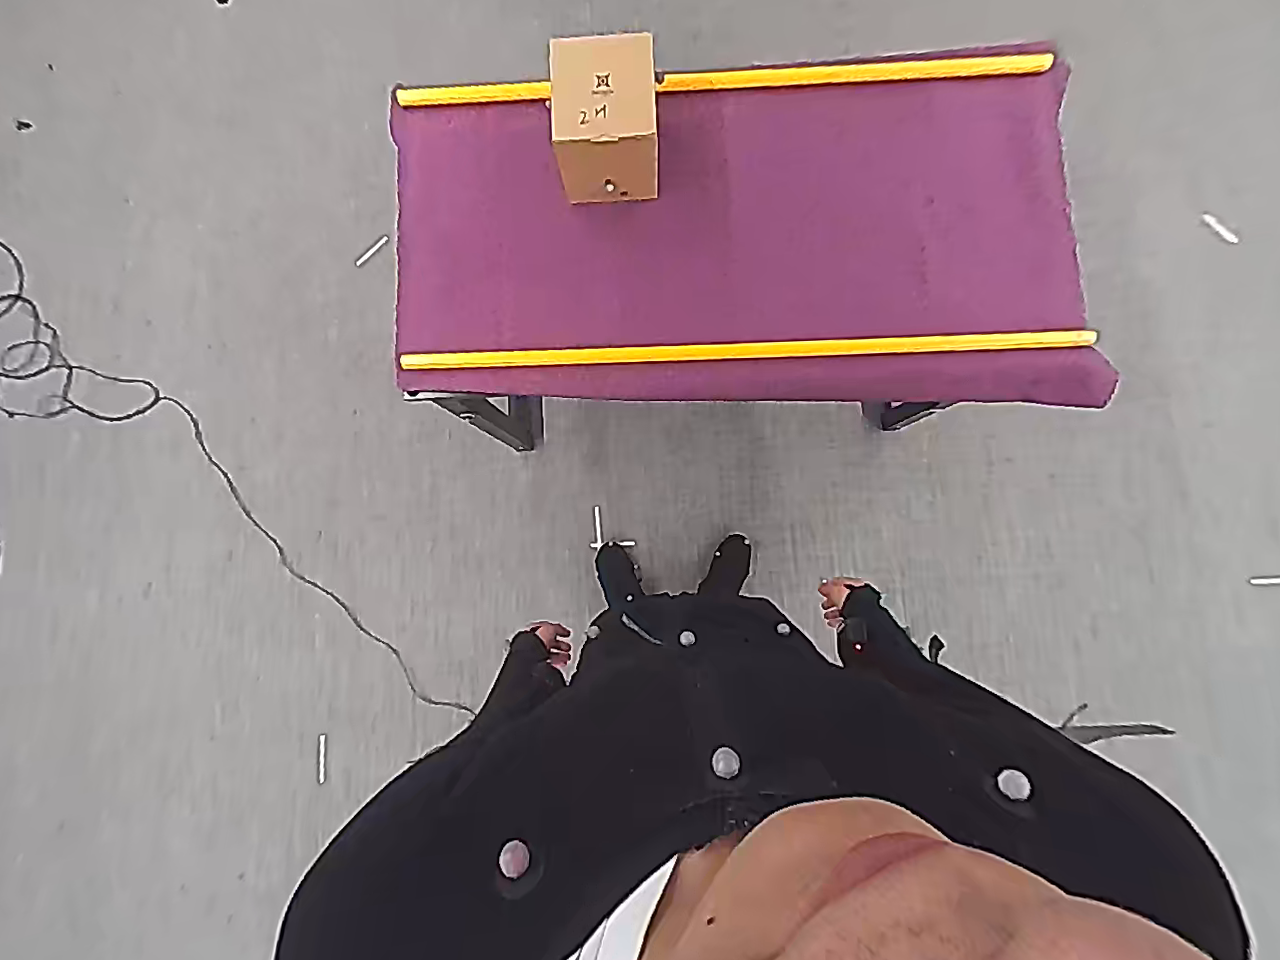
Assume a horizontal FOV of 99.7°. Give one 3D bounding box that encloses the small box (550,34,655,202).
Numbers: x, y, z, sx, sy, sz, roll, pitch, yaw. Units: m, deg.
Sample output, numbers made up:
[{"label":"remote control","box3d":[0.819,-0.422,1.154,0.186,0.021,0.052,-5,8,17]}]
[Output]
[{"label":"small box","box3d":[-0.059,-0.610,0.929,0.168,0.176,0.179,-2,86,2]}]
